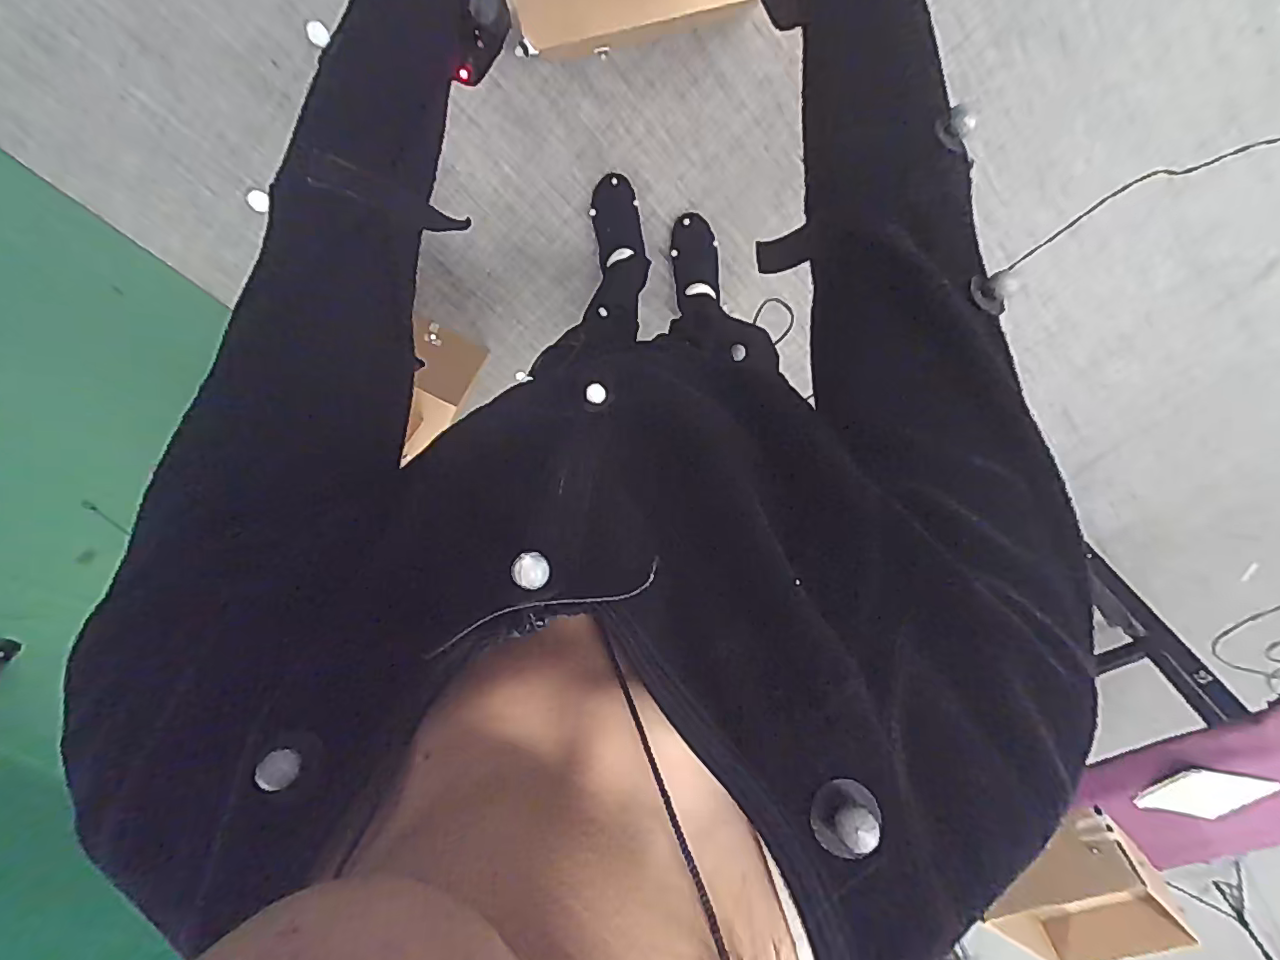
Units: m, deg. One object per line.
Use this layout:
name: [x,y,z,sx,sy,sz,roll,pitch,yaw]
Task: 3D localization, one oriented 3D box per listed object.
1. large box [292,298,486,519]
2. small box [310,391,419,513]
large box: [-0.643,-0.184,1.398,0.320,0.320,0.408,28,122,-16]
small box: [-0.611,-0.066,1.182,0.179,0.176,0.168,28,121,-18]
